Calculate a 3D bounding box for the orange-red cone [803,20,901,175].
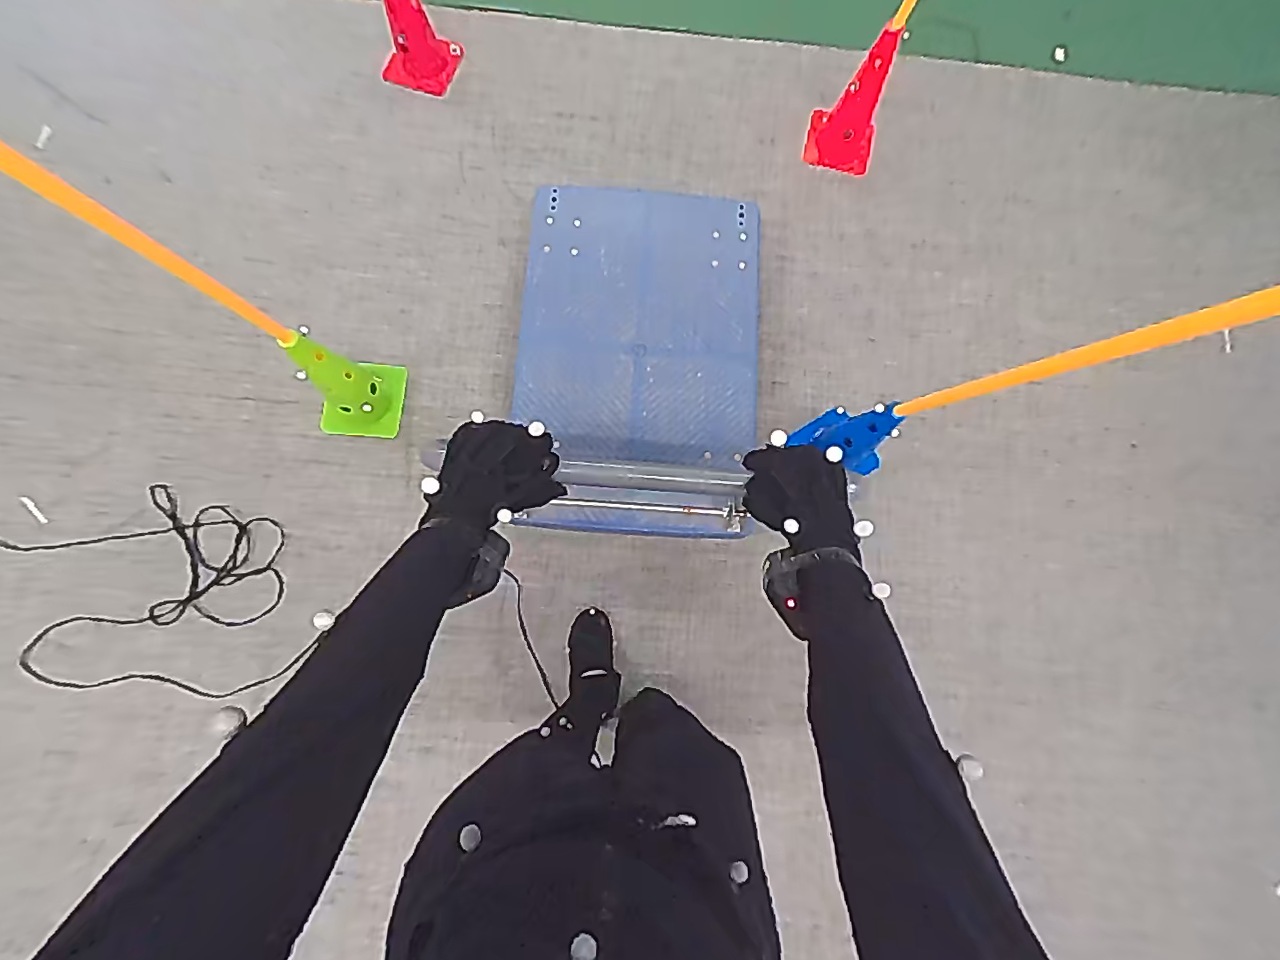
[{"bbox_3d":[0.613,-1.065,1.484,0.198,0.360,0.199,16,79,1],"label":"orange-red cone"}]
